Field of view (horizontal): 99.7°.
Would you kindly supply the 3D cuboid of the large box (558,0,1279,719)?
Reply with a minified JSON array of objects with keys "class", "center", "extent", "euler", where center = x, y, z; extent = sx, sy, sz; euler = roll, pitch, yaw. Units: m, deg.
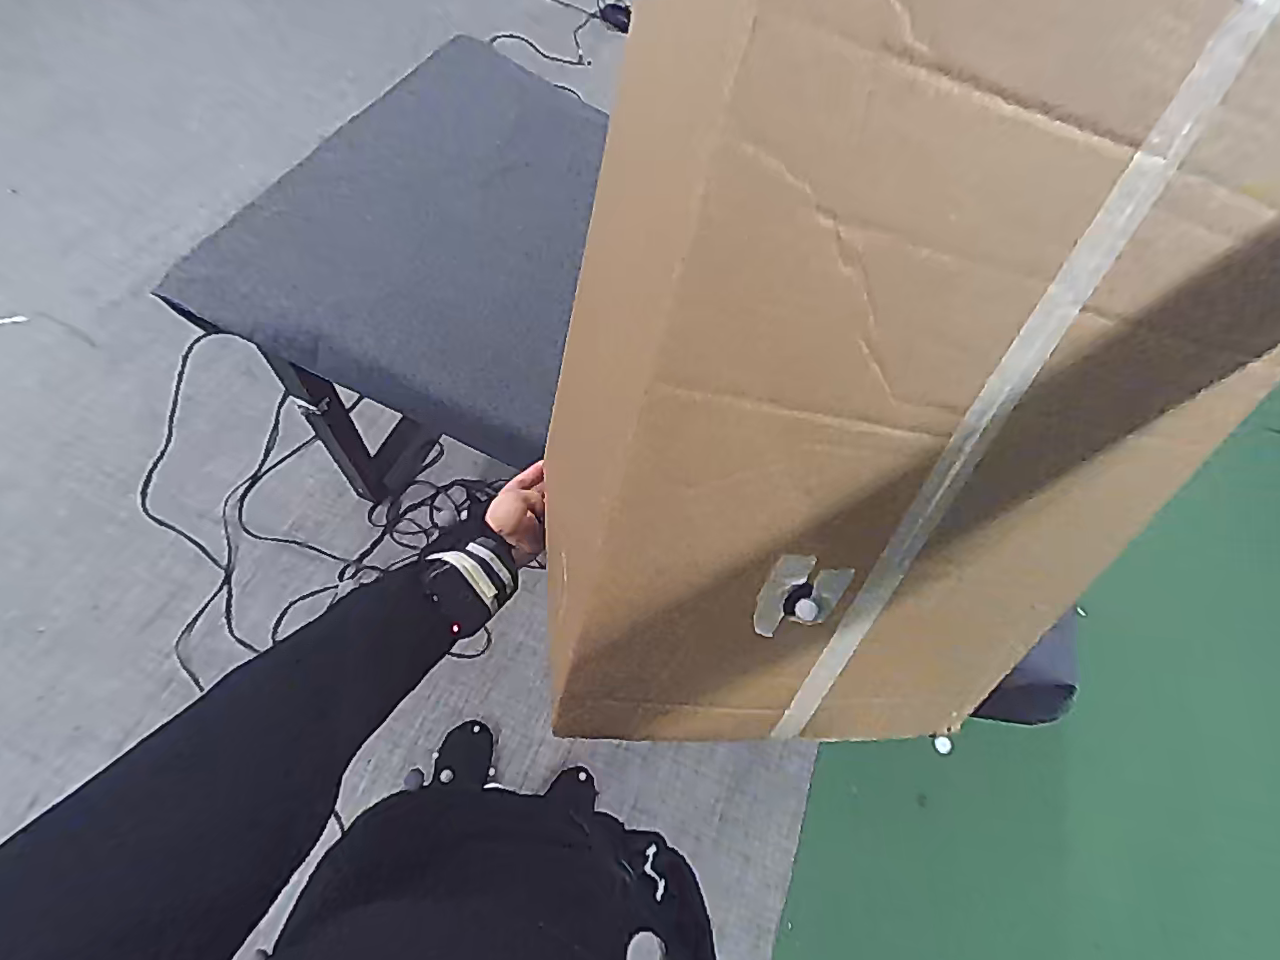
[{"class":"large box","center":[0.124,-0.076,0.417],"extent":[0.320,0.408,0.320],"euler":[7,33,-15]}]
